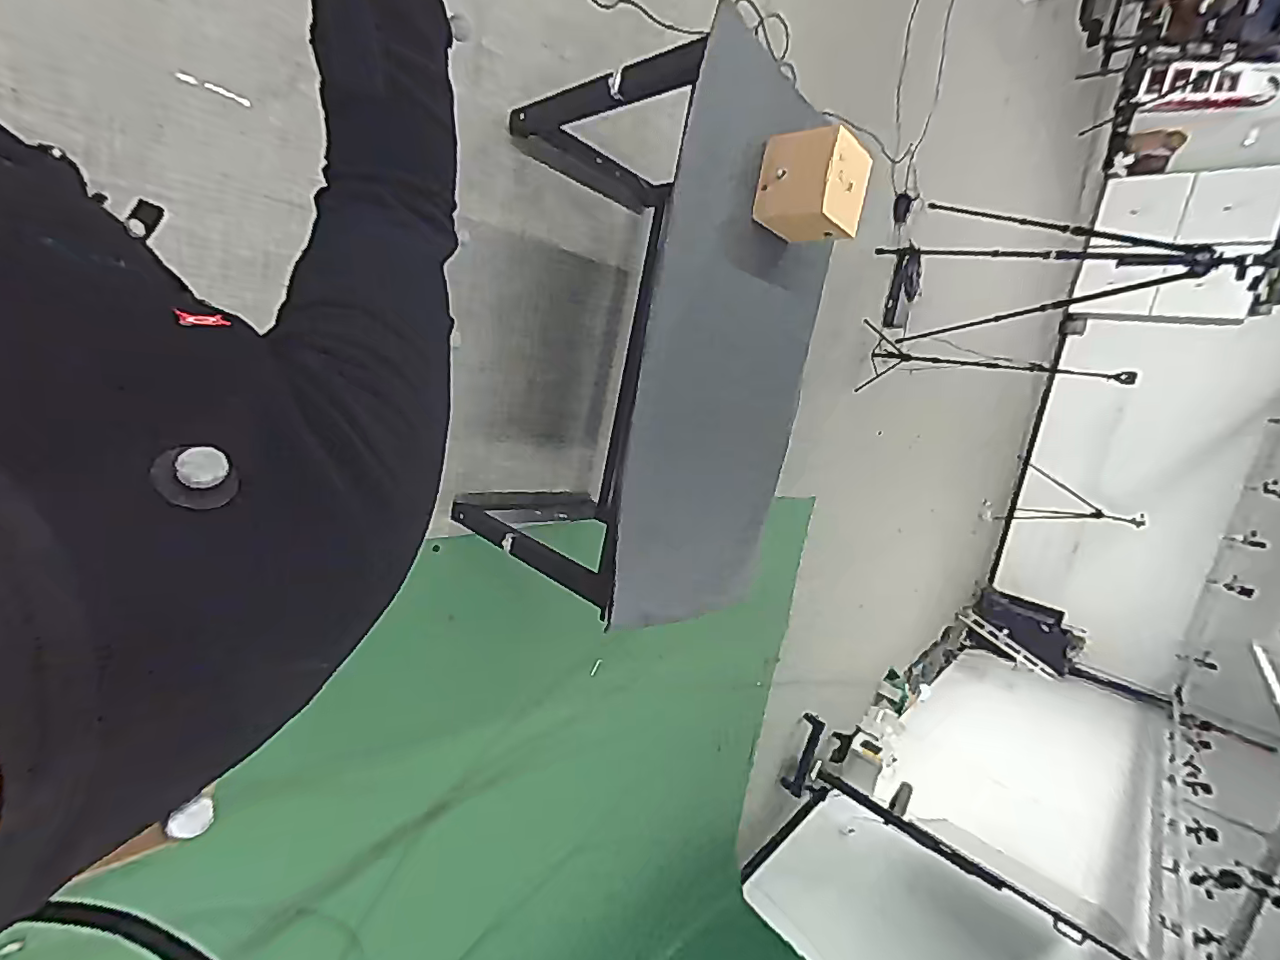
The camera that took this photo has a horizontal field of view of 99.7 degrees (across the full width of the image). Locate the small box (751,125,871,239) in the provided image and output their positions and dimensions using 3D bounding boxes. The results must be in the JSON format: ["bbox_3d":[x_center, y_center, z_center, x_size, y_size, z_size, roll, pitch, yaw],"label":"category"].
[{"bbox_3d":[0.371,-0.638,1.180,0.179,0.176,0.168,-1,106,-47],"label":"small box"}]
